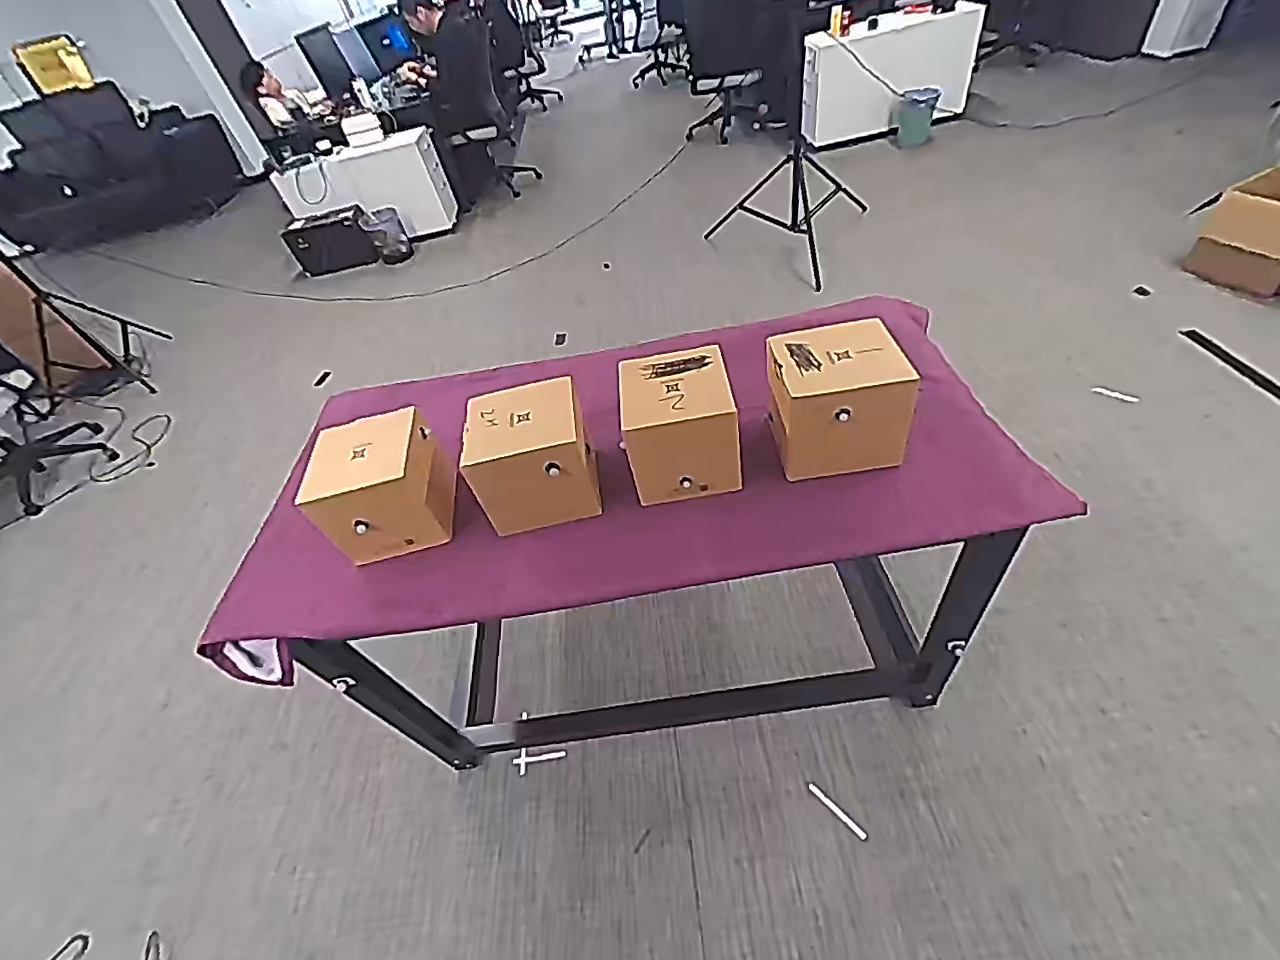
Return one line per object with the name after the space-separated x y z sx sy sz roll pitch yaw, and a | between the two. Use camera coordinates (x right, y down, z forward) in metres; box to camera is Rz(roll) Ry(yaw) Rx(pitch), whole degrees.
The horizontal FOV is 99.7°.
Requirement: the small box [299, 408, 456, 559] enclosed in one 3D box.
-0.422 0.013 0.905 0.168 0.176 0.179 -15 45 -1 | small box

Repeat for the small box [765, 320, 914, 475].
0.300 -0.124 0.849 0.179 0.176 0.168 -8 45 6 | small box
